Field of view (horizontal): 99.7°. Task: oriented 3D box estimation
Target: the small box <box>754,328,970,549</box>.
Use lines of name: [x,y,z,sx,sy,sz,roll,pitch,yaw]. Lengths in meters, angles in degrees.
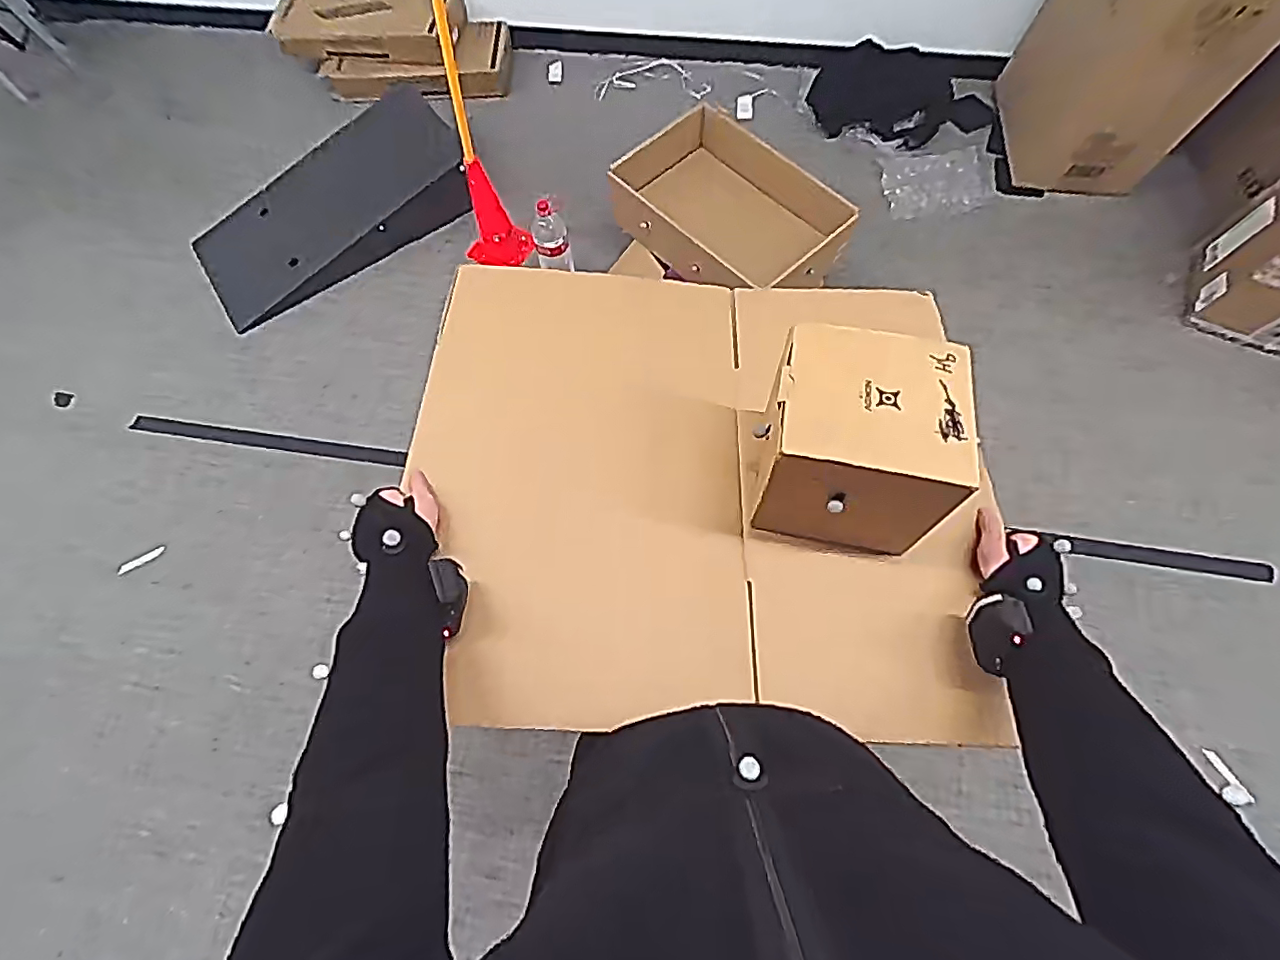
small box: [0.228,-0.038,0.594,0.179,0.176,0.168,10,63,8]
